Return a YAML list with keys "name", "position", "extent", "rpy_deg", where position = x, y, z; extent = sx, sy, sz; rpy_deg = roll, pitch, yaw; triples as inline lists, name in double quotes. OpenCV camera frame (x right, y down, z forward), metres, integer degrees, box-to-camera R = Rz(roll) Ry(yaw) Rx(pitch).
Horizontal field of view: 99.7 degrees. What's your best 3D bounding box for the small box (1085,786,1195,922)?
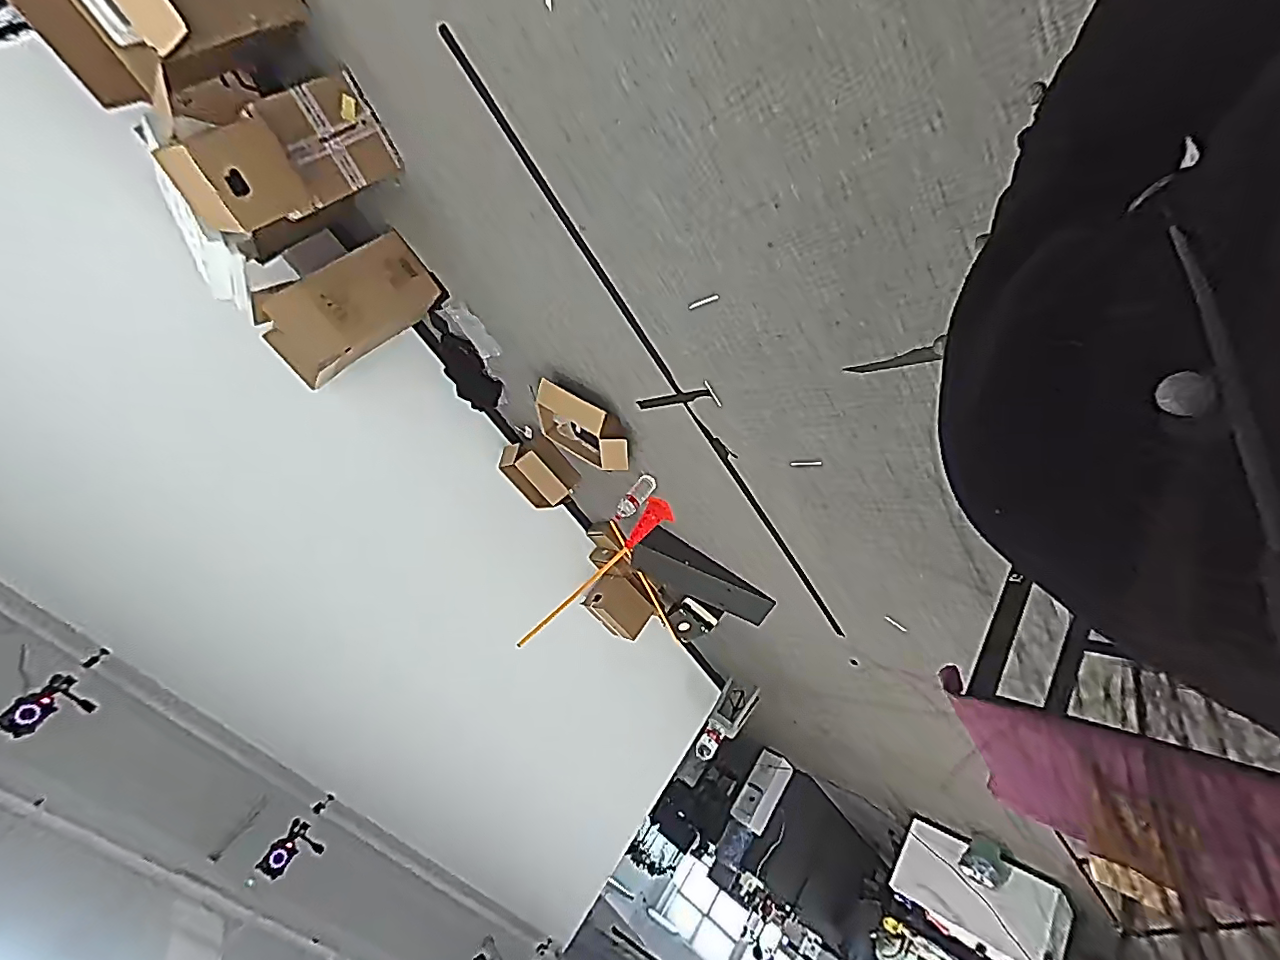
- name: "small box"
  position: [1.153, 0.852, 1.244]
  extent: [0.168, 0.176, 0.179]
  rpy_deg: [5, 137, 49]
